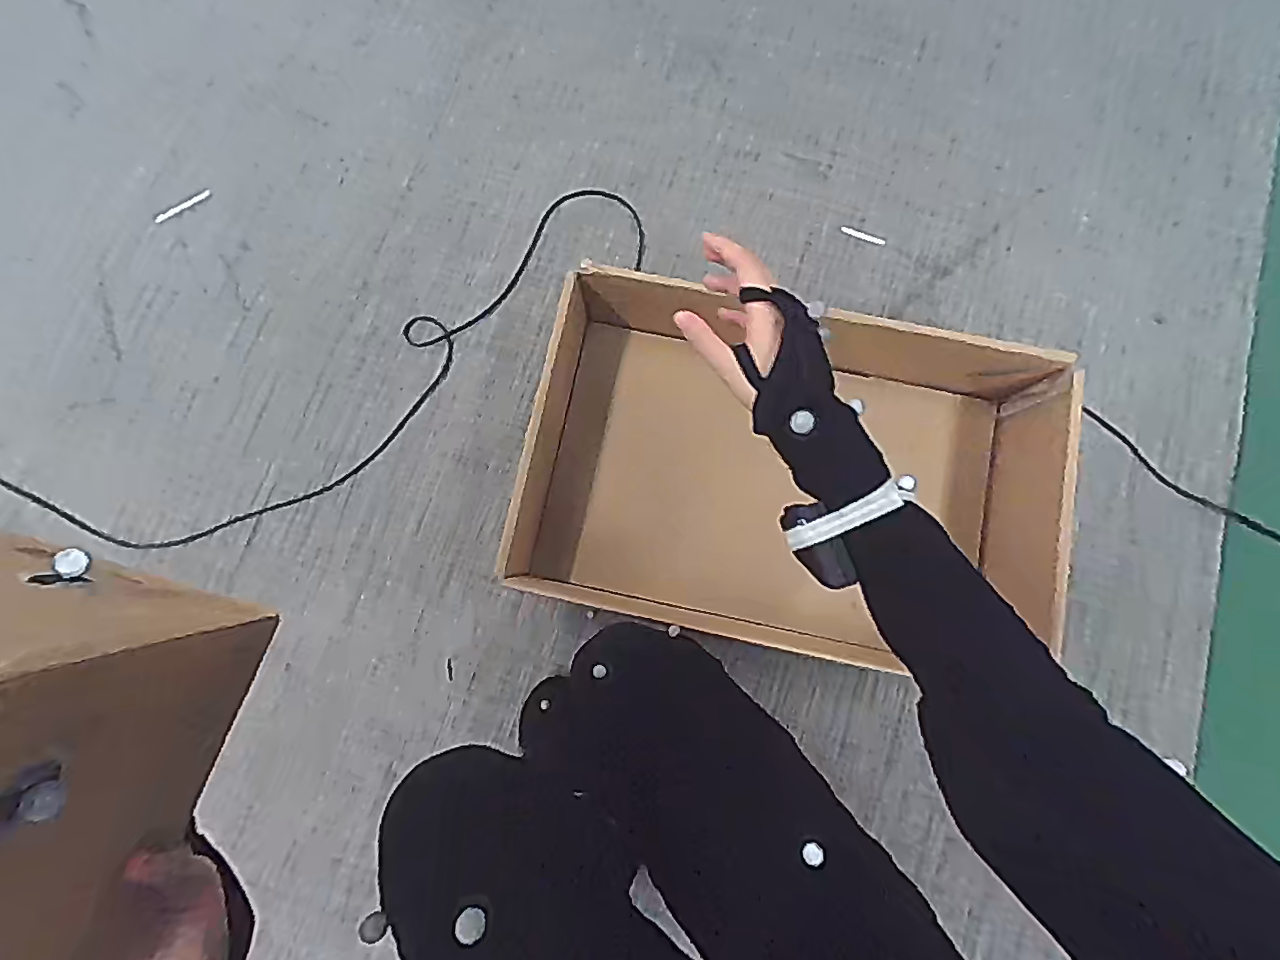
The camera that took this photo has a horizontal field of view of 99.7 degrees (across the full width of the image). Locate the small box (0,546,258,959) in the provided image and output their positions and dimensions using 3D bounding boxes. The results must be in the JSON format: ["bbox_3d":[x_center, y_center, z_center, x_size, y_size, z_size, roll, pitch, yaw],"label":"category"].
[{"bbox_3d":[-0.284,0.125,0.191,0.168,0.176,0.179,19,78,-8],"label":"small box"}]
